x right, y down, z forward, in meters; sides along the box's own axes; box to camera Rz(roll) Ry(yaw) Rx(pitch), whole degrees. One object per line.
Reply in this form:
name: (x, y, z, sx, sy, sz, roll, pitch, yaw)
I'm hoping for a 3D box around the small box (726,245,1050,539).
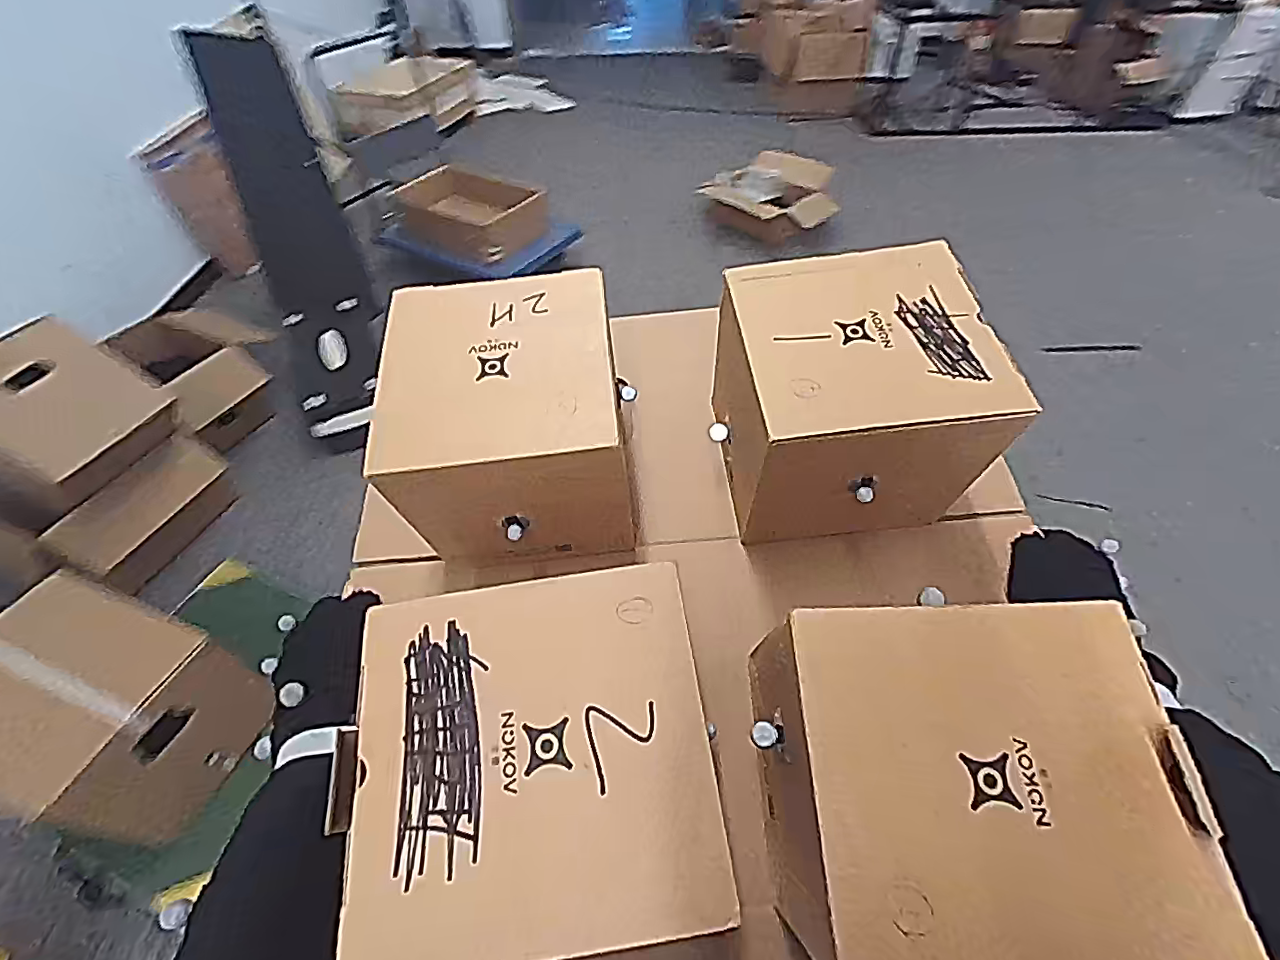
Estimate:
small box: (0.173, -0.062, 0.447, 0.179, 0.176, 0.168, -6, 61, 2)
